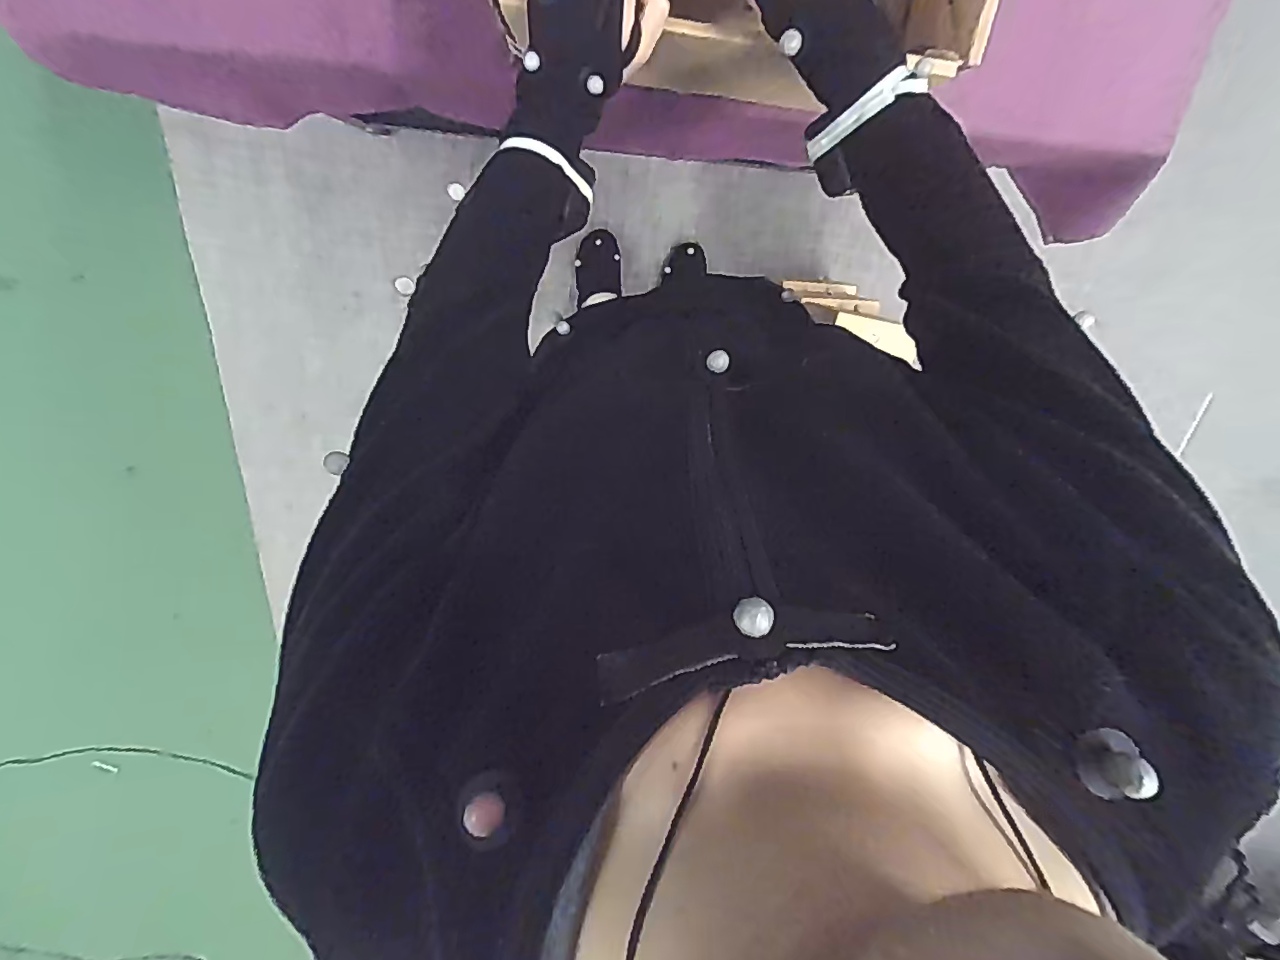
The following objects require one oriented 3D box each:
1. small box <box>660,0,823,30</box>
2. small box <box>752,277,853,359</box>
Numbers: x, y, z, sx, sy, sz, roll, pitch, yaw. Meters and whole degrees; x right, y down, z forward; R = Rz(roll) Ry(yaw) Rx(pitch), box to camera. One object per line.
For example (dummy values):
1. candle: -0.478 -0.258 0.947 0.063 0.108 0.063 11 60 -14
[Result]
1. small box: 0.093 -0.491 0.420 0.168 0.176 0.179 5 113 -5
2. small box: 0.393 -0.404 1.336 0.179 0.176 0.168 3 114 -4
